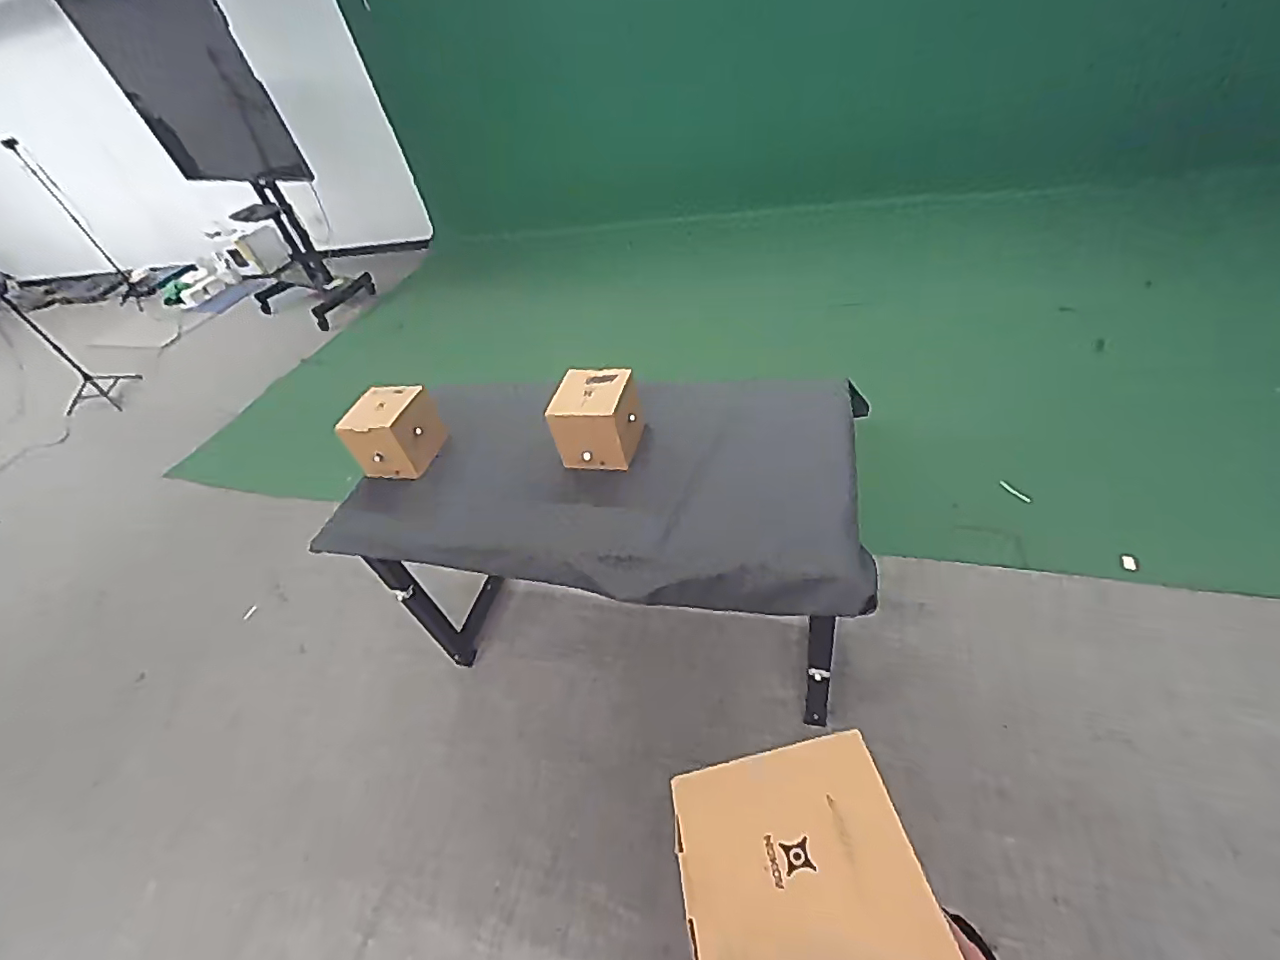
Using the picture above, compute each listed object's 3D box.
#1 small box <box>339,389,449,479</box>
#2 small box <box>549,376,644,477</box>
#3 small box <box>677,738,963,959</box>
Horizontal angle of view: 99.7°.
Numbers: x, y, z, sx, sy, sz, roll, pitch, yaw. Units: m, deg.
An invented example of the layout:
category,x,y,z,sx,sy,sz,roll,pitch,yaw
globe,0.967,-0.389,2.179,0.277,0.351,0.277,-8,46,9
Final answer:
category,x,y,z,sx,sy,sz,roll,pitch,yaw
small box,-0.633,-0.119,1.420,0.168,0.176,0.179,2,46,15
small box,-0.094,-0.131,1.300,0.168,0.176,0.179,3,47,17
small box,0.146,0.362,0.467,0.179,0.176,0.168,-17,35,4
